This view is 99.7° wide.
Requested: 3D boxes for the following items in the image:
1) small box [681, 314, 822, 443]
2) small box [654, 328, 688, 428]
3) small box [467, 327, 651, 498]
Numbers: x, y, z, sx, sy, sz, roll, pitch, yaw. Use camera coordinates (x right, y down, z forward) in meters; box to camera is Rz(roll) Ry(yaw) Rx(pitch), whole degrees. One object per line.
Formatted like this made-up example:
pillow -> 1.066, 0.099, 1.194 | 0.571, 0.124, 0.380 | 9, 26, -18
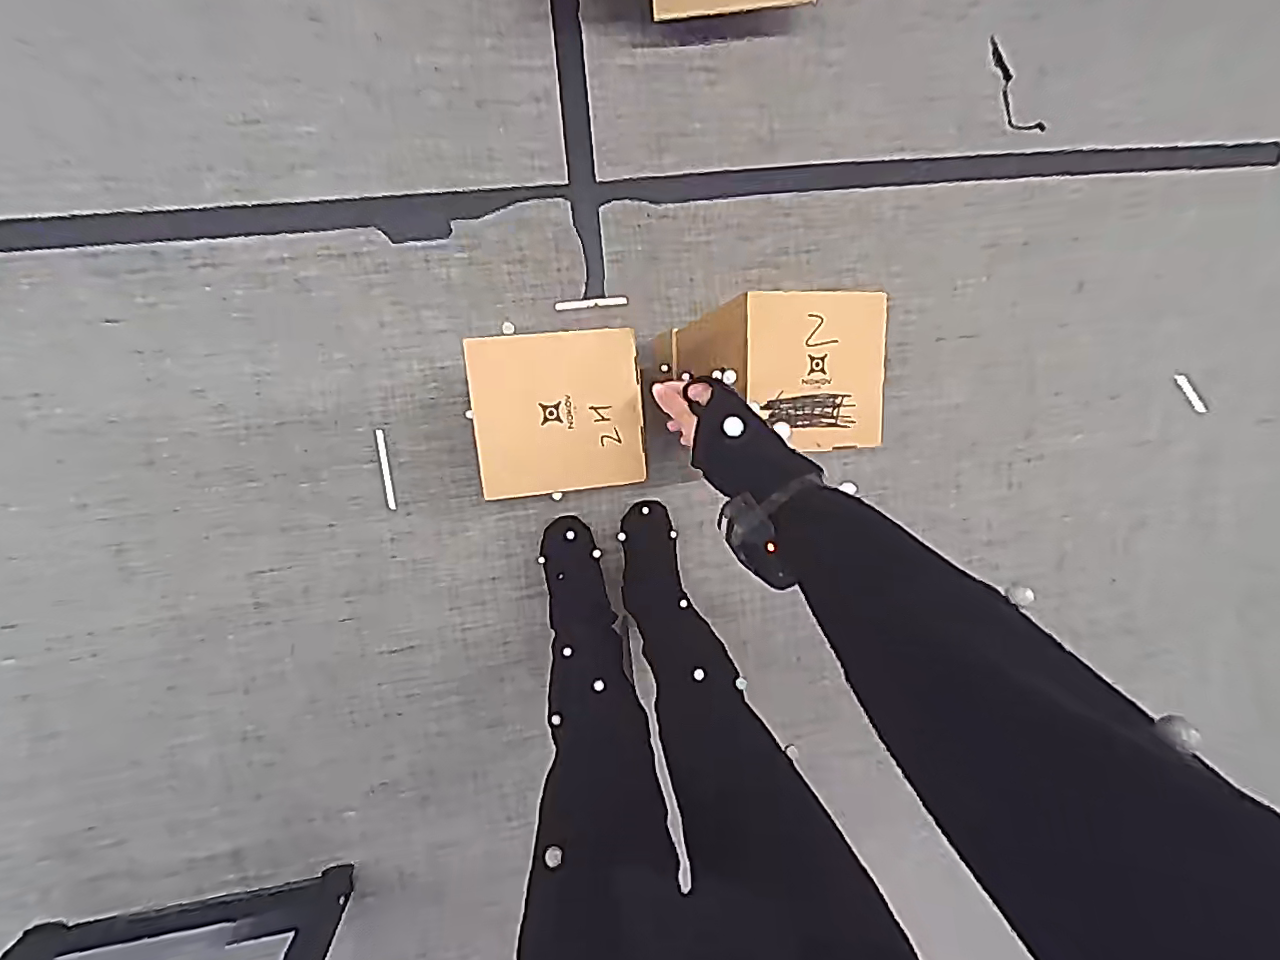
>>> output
small box -> 0.162, -0.154, 0.831 | 0.168, 0.176, 0.179 | -4, 99, -10
small box -> 0.130, -0.185, 0.990 | 0.179, 0.176, 0.168 | -3, 99, -11
small box -> -0.093, -0.081, 0.630 | 0.179, 0.176, 0.168 | -7, 100, -11
